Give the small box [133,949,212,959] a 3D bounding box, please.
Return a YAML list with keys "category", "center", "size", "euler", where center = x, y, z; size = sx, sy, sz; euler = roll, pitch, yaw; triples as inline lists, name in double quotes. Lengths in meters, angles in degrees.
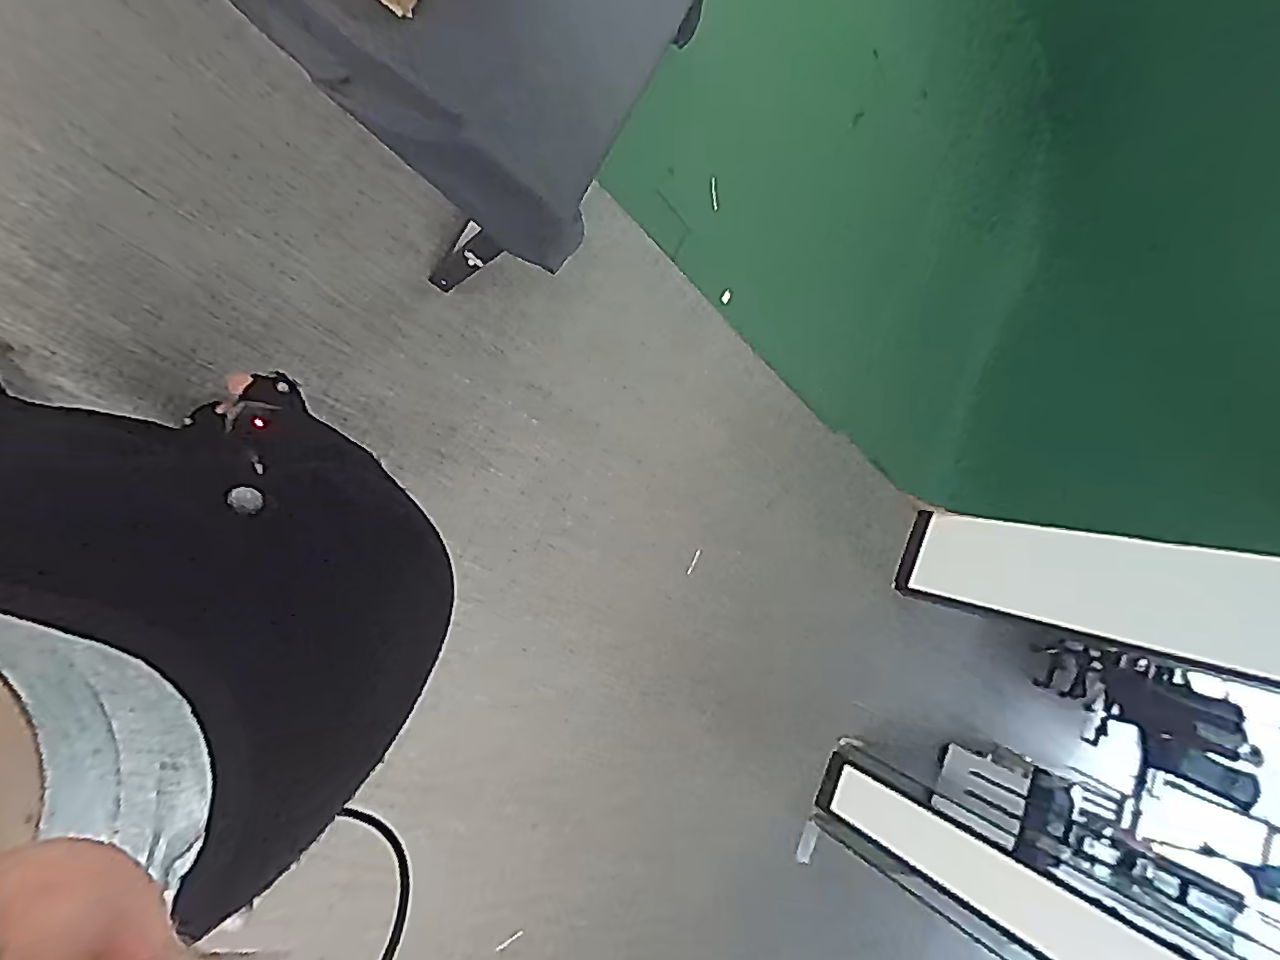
- category: "small box"
  center: [-1.089, 1.208, 1.208]
  size: [0.168, 0.176, 0.179]
  euler: [31, 76, -36]
